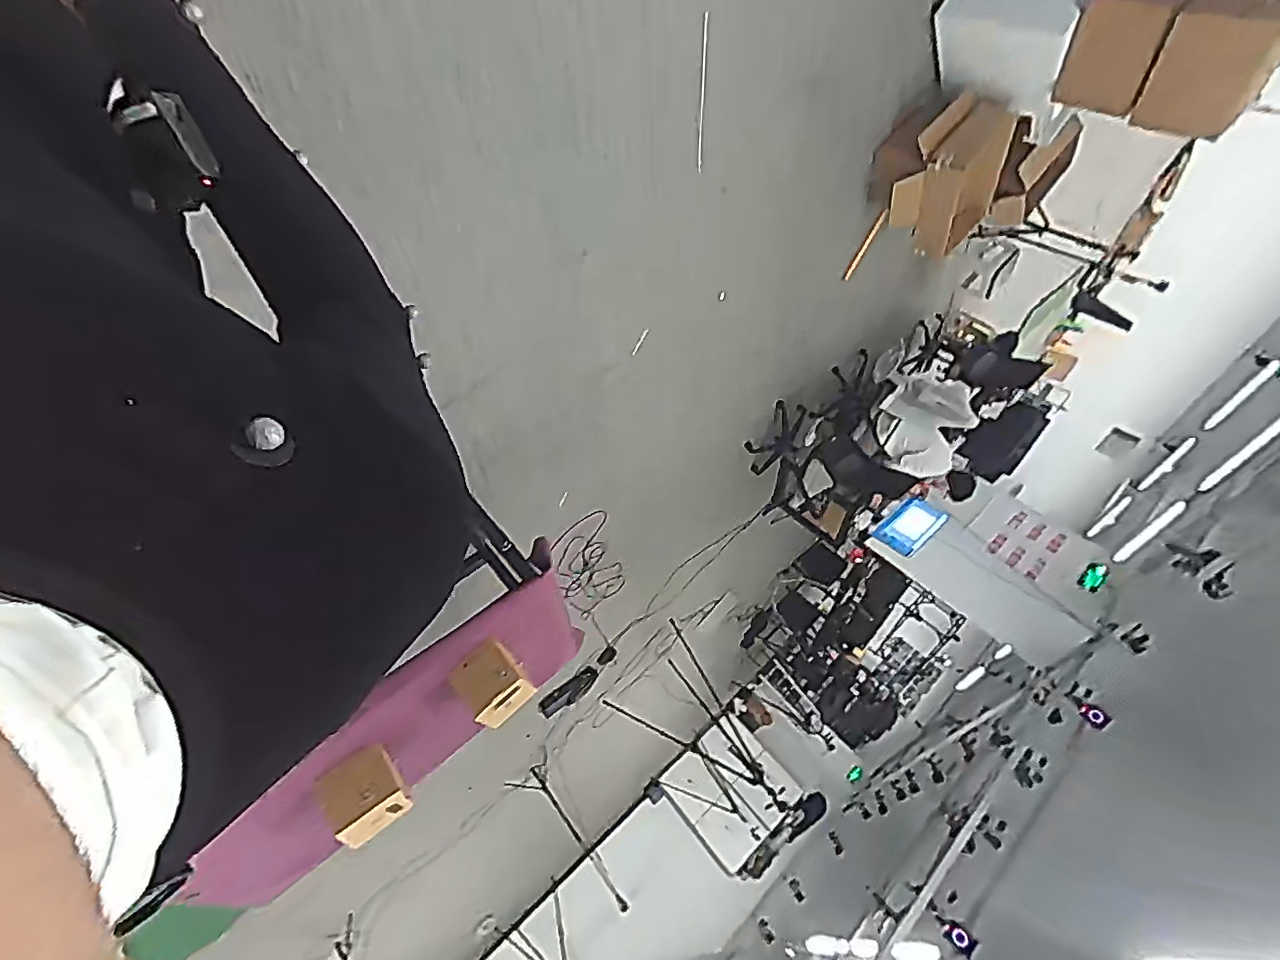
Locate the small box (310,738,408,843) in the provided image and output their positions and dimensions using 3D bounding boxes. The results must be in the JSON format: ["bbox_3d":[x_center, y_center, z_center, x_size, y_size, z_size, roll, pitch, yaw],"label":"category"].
[{"bbox_3d":[-0.790,0.871,1.527,0.179,0.176,0.168,-29,145,-29],"label":"small box"}]
